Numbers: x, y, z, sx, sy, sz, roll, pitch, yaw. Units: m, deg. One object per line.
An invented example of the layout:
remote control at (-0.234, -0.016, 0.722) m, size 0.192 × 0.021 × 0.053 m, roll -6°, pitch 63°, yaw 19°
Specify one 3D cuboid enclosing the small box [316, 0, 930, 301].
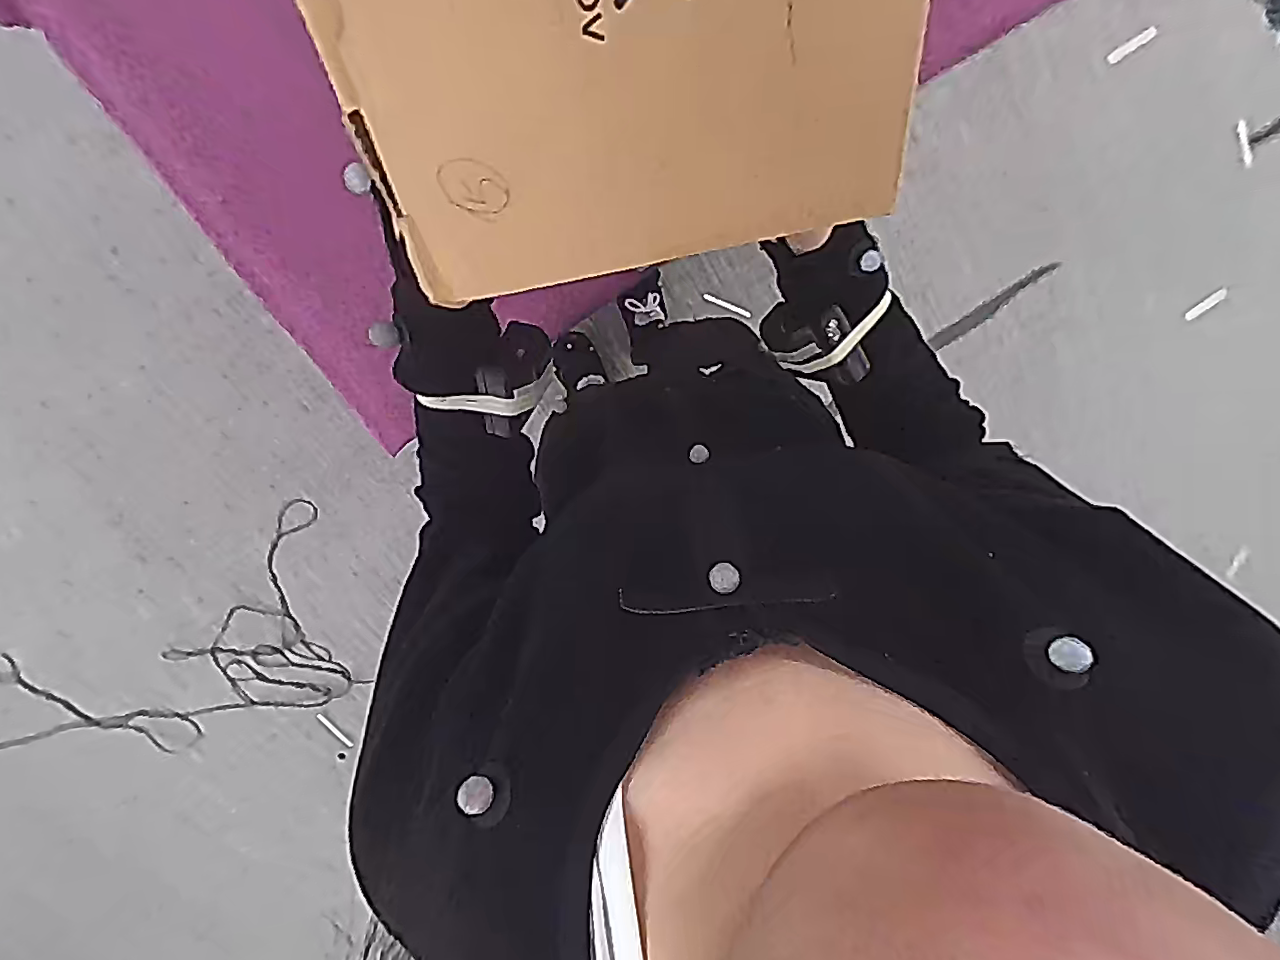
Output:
small box at (-0.014, -0.191, 0.206) m, size 0.179 × 0.176 × 0.168 m, roll -13°, pitch 130°, yaw -3°
